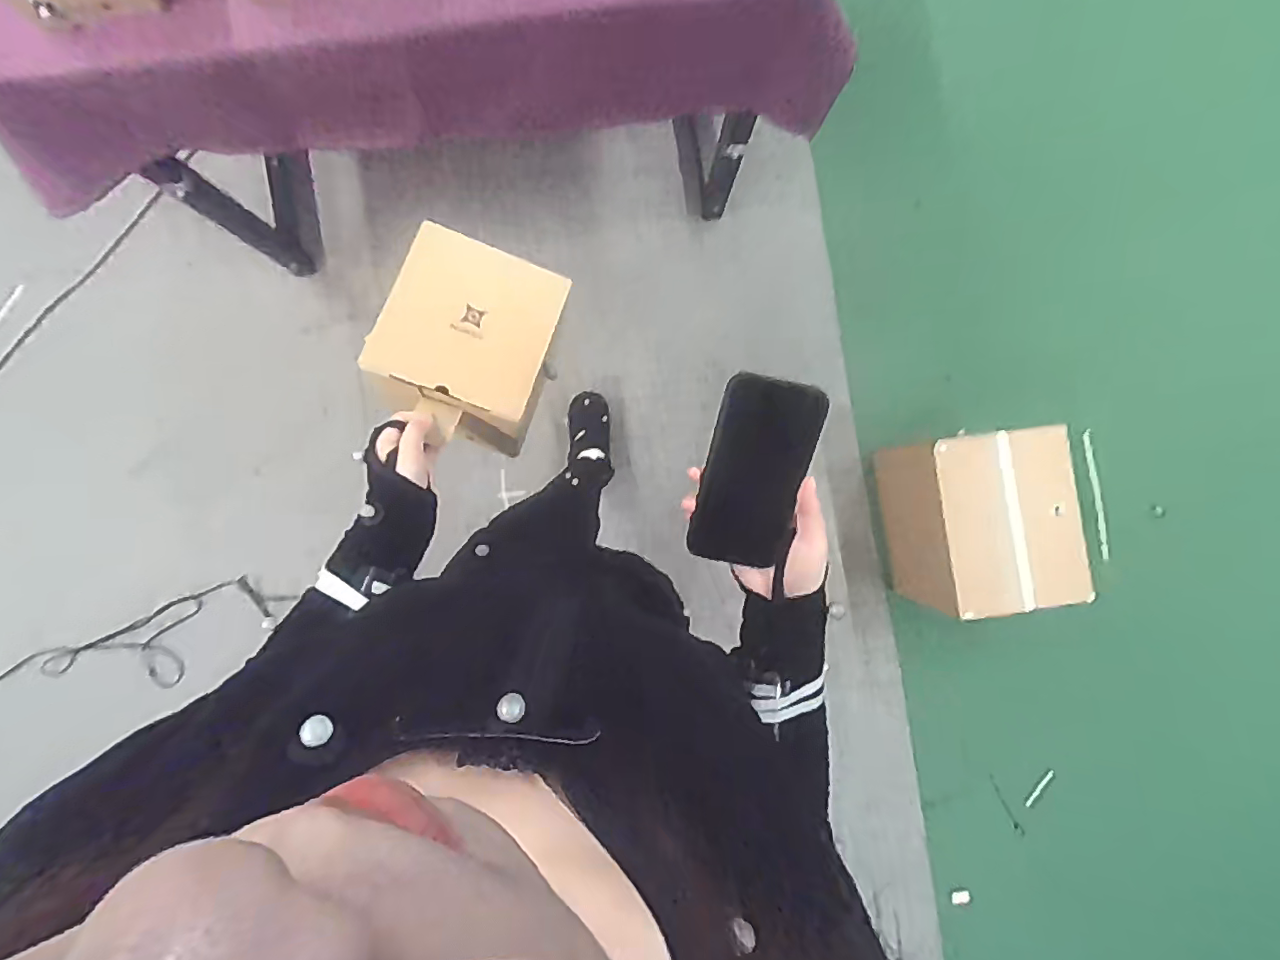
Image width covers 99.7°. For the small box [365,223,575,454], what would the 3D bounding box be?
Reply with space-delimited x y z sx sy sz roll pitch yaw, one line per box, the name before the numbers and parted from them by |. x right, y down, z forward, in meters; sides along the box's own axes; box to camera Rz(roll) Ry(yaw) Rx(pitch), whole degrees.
small box | -0.191 -0.151 0.638 0.168 0.176 0.179 21 76 -10

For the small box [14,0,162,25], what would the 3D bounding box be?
small box | -0.747 -0.713 0.671 0.168 0.176 0.179 -10 88 -3
